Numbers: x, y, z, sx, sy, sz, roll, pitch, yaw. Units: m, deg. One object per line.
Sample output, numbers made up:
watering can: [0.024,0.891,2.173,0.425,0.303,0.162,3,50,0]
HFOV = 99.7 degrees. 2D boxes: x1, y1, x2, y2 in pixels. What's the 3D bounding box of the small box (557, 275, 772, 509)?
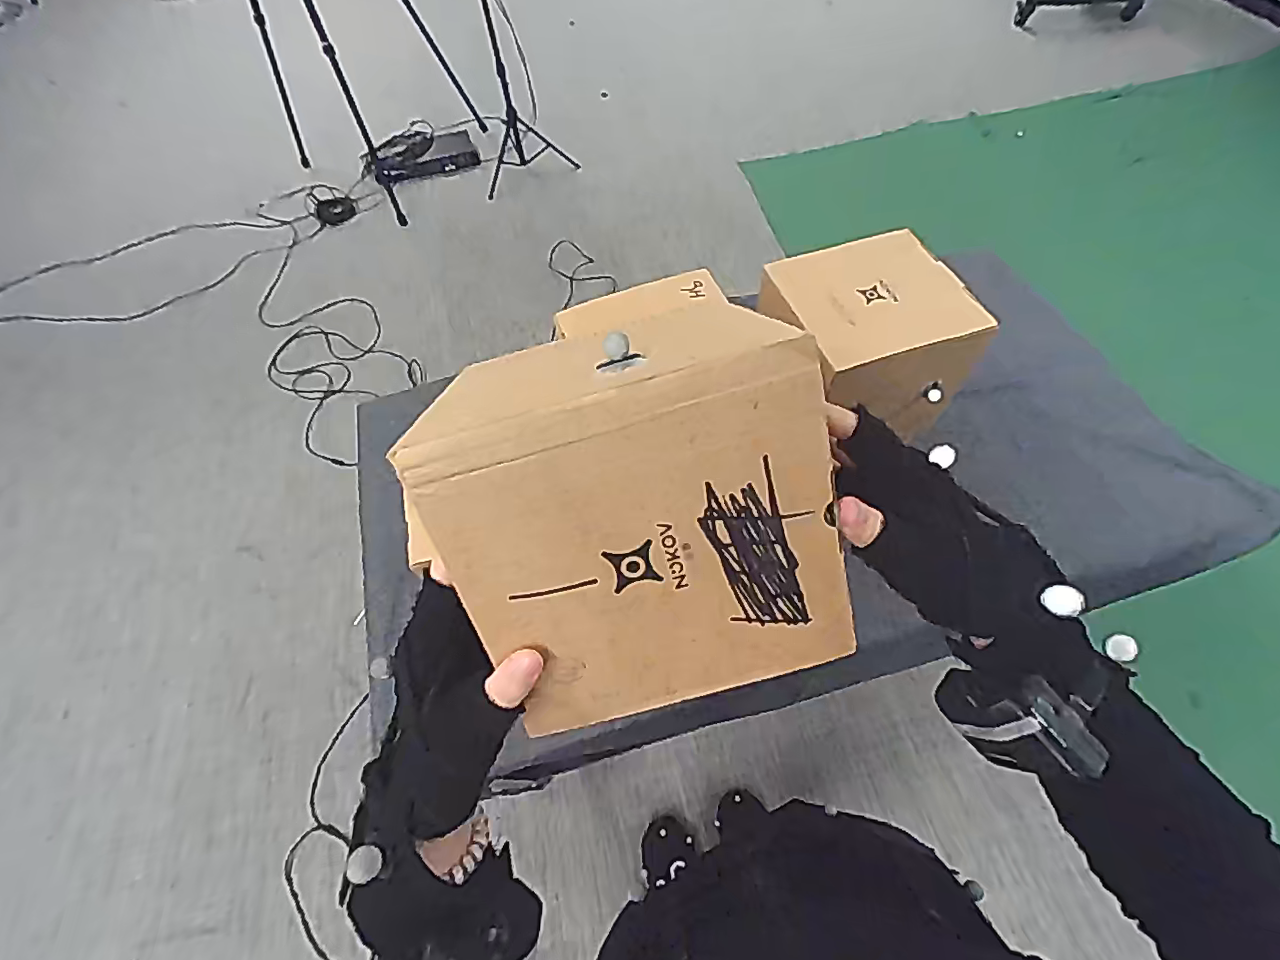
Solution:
small box: [0.026,-0.090,0.608,0.179,0.176,0.168,-20,61,-7]
